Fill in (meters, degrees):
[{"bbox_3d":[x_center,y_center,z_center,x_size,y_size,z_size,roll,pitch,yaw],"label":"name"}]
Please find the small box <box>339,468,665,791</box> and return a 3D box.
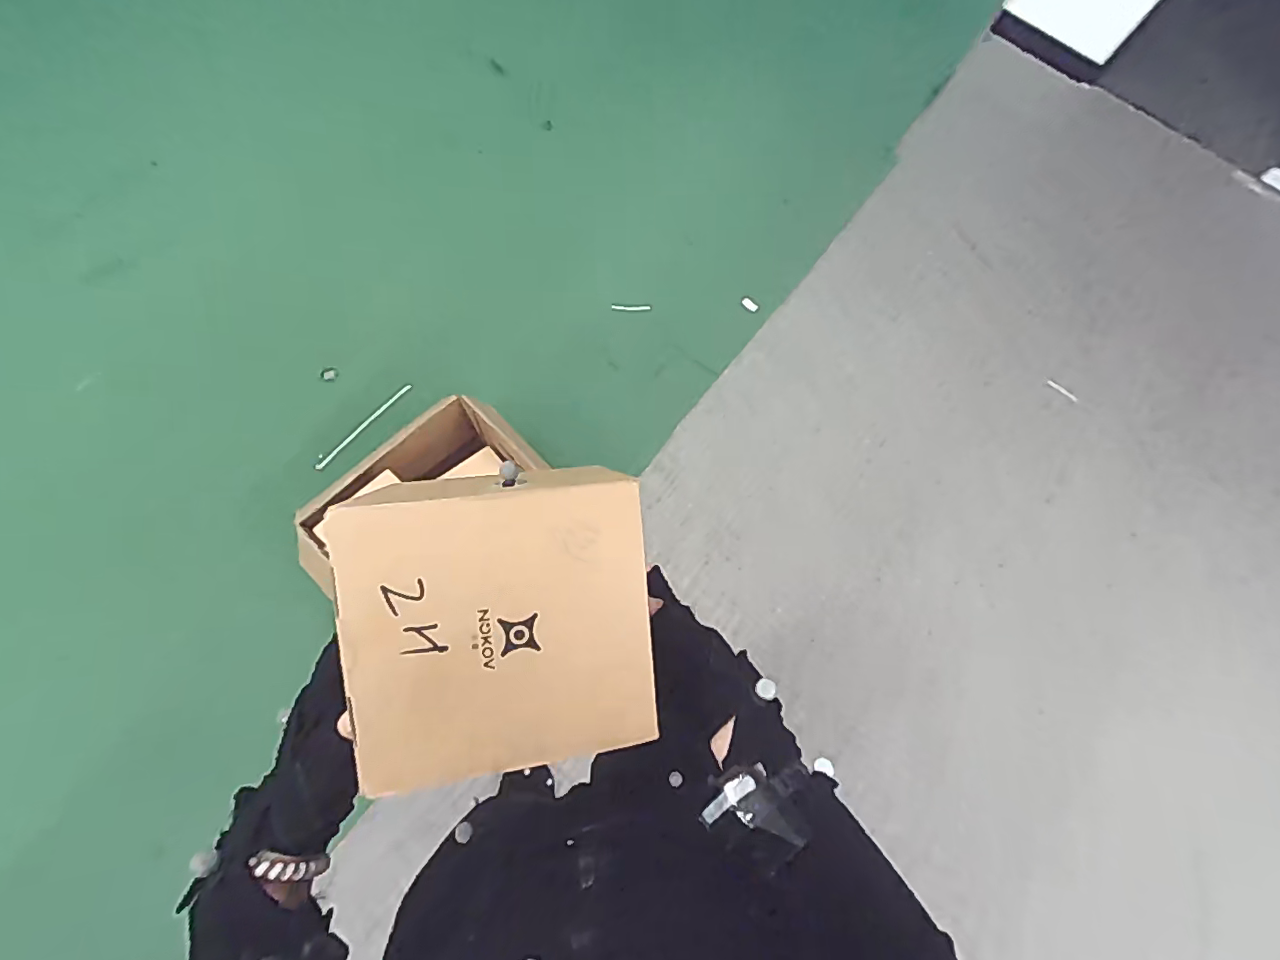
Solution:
[{"bbox_3d":[-0.092,0.081,0.392,0.179,0.176,0.168,-5,94,-13],"label":"small box"}]
